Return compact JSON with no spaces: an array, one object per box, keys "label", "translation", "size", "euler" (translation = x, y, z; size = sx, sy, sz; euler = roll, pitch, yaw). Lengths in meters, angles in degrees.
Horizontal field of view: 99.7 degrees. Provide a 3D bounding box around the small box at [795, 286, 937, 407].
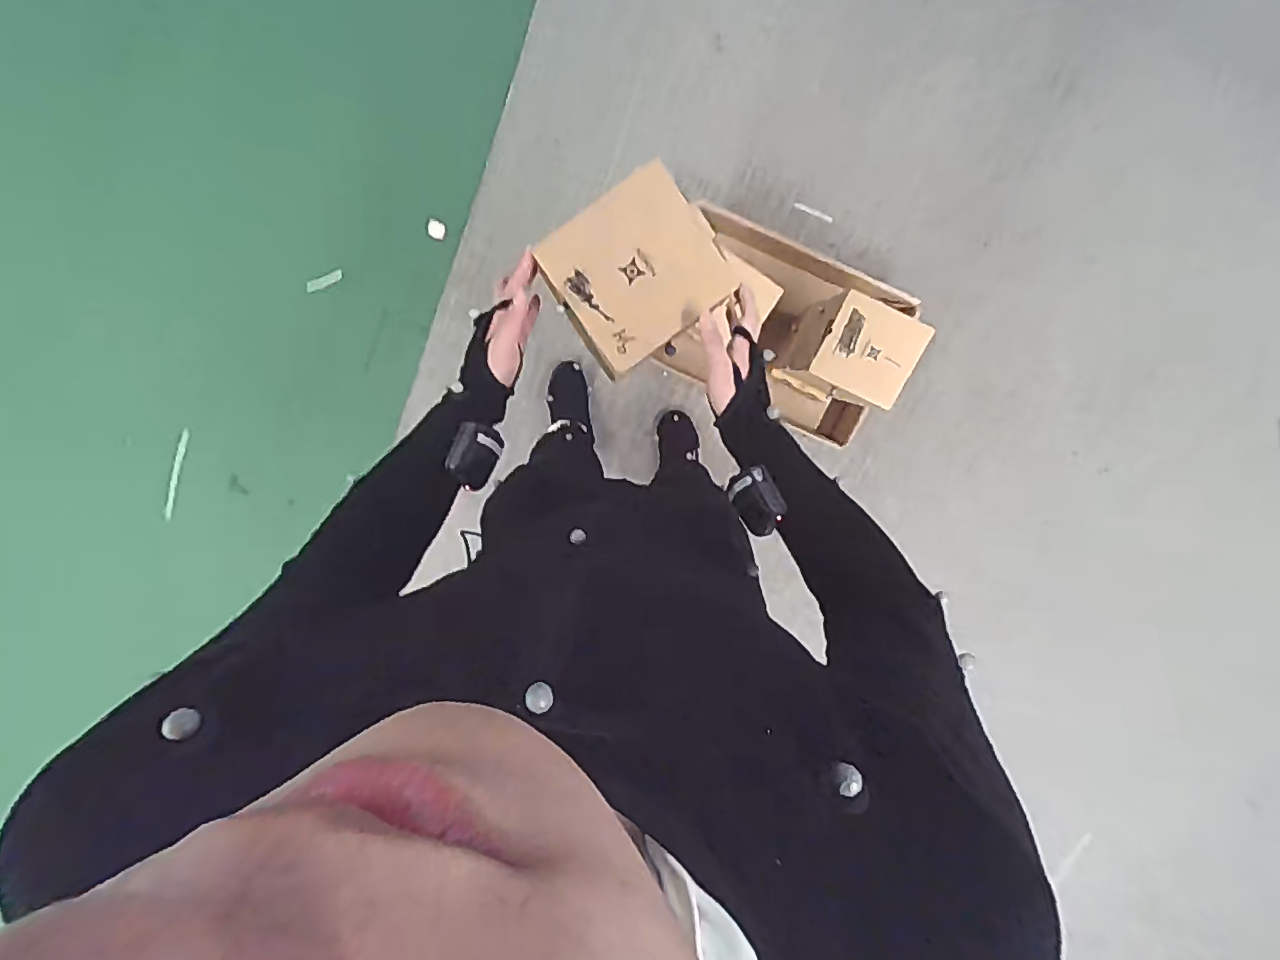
[{"label":"small box","translation":[0.430,-0.257,1.067],"size":[0.179,0.176,0.168],"euler":[26,103,-1]}]
